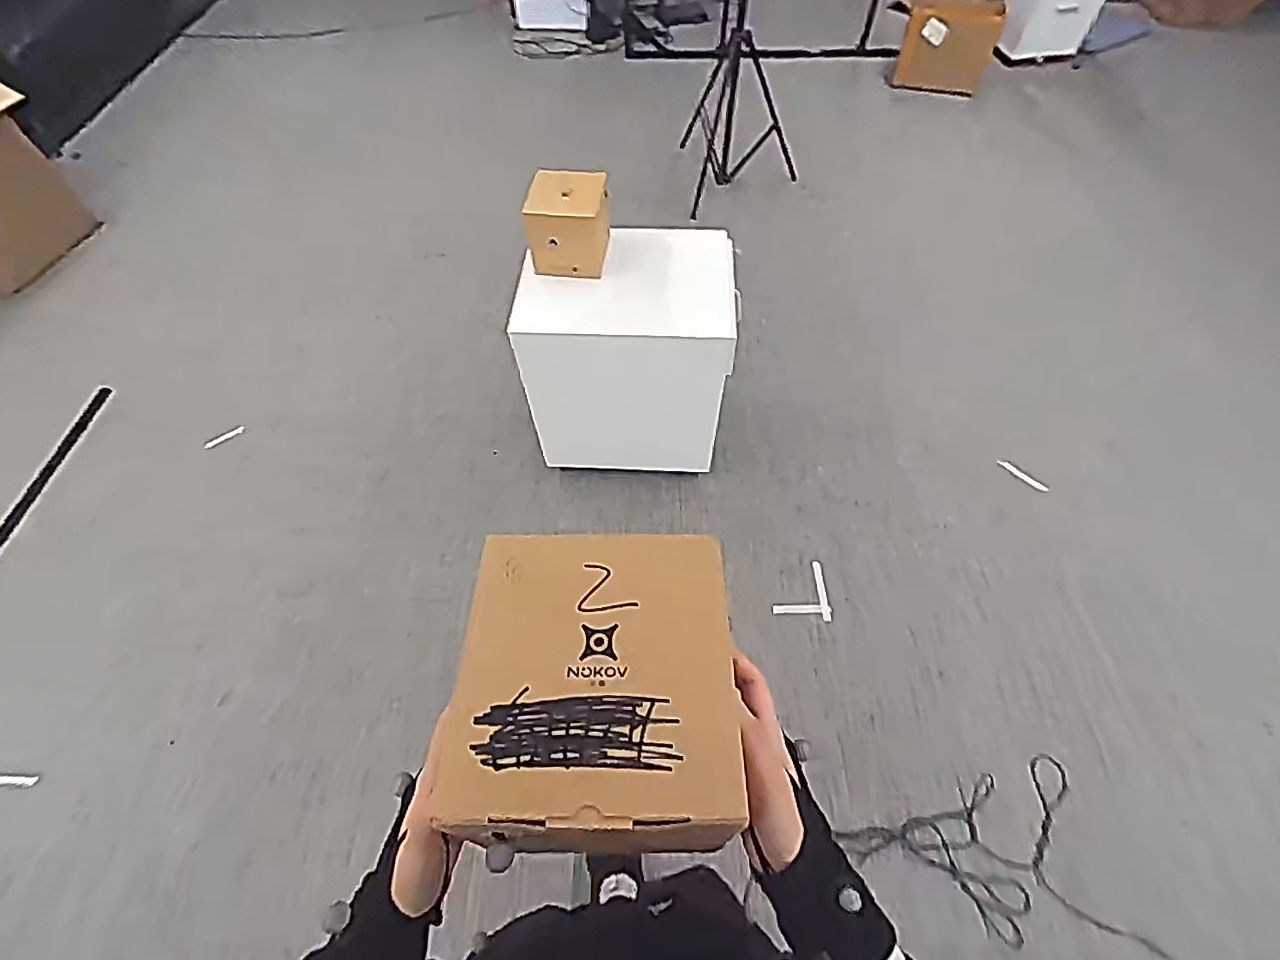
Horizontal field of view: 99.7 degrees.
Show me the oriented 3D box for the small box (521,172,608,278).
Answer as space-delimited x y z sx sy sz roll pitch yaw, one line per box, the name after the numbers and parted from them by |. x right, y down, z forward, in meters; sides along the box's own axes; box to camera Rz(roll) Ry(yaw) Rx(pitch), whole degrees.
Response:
-0.171 -0.604 1.290 0.168 0.176 0.179 5 58 4 | small box
